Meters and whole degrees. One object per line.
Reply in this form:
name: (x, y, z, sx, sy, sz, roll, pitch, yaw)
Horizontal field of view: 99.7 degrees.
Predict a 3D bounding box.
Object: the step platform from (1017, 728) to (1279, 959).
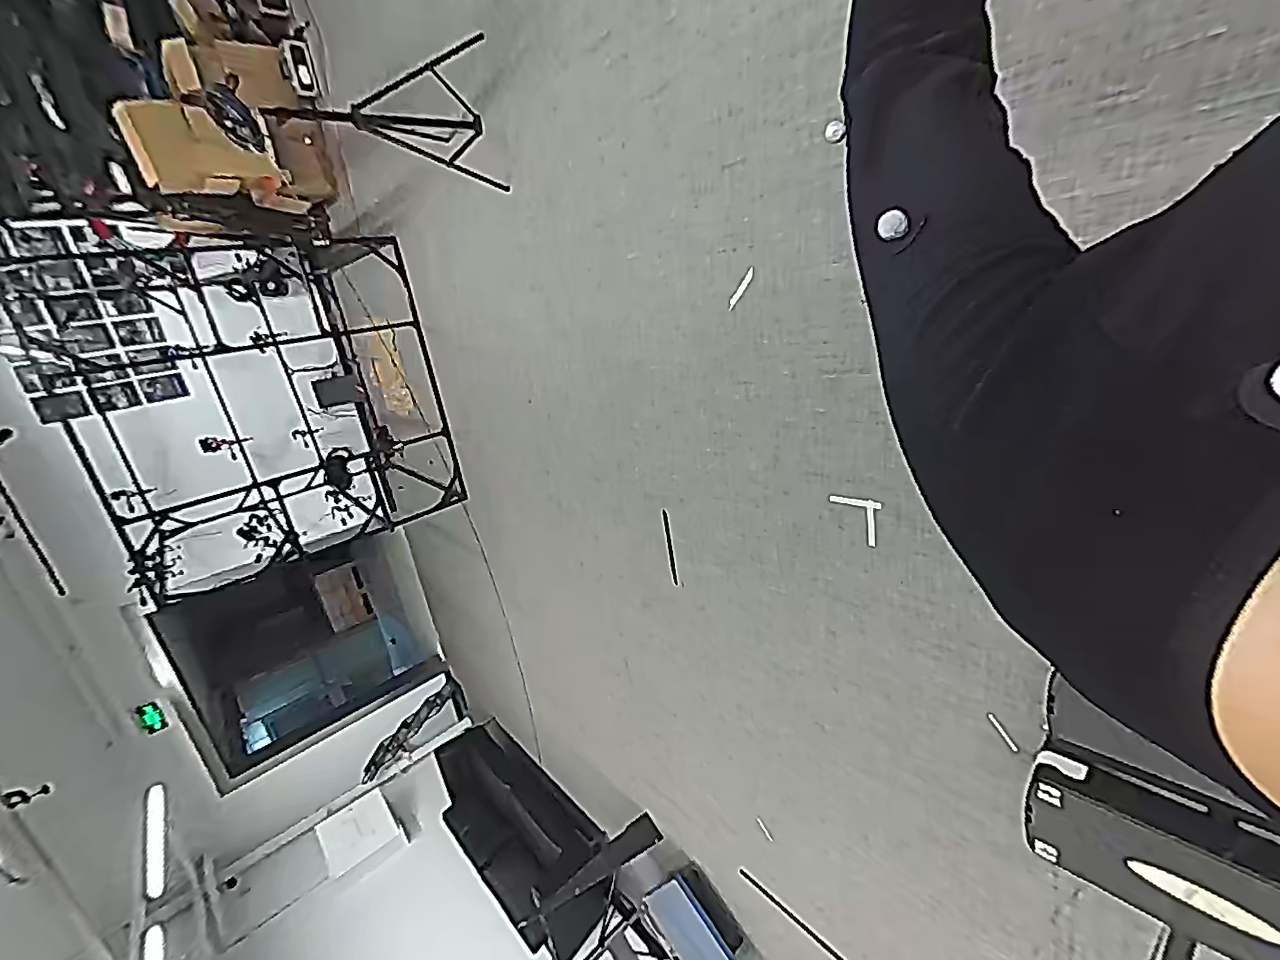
step platform: (1.291, 0.879, 1.253, 0.684, 0.204, 0.286, 11, 118, 50)
